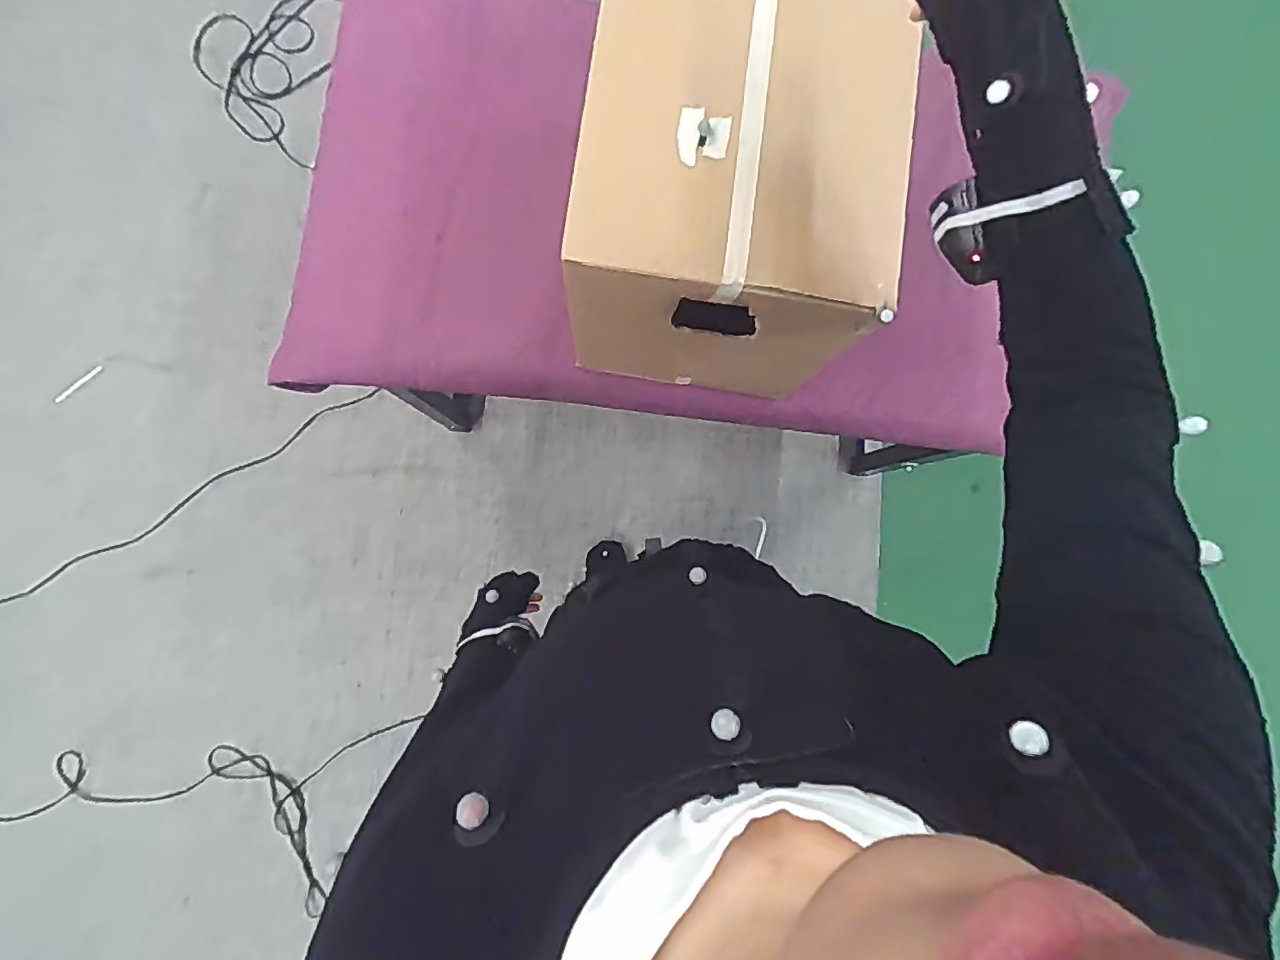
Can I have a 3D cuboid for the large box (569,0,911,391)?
[{"bbox_3d":[0.096,-0.361,0.674,0.320,0.320,0.408,8,84,-3],"label":"large box"}]
